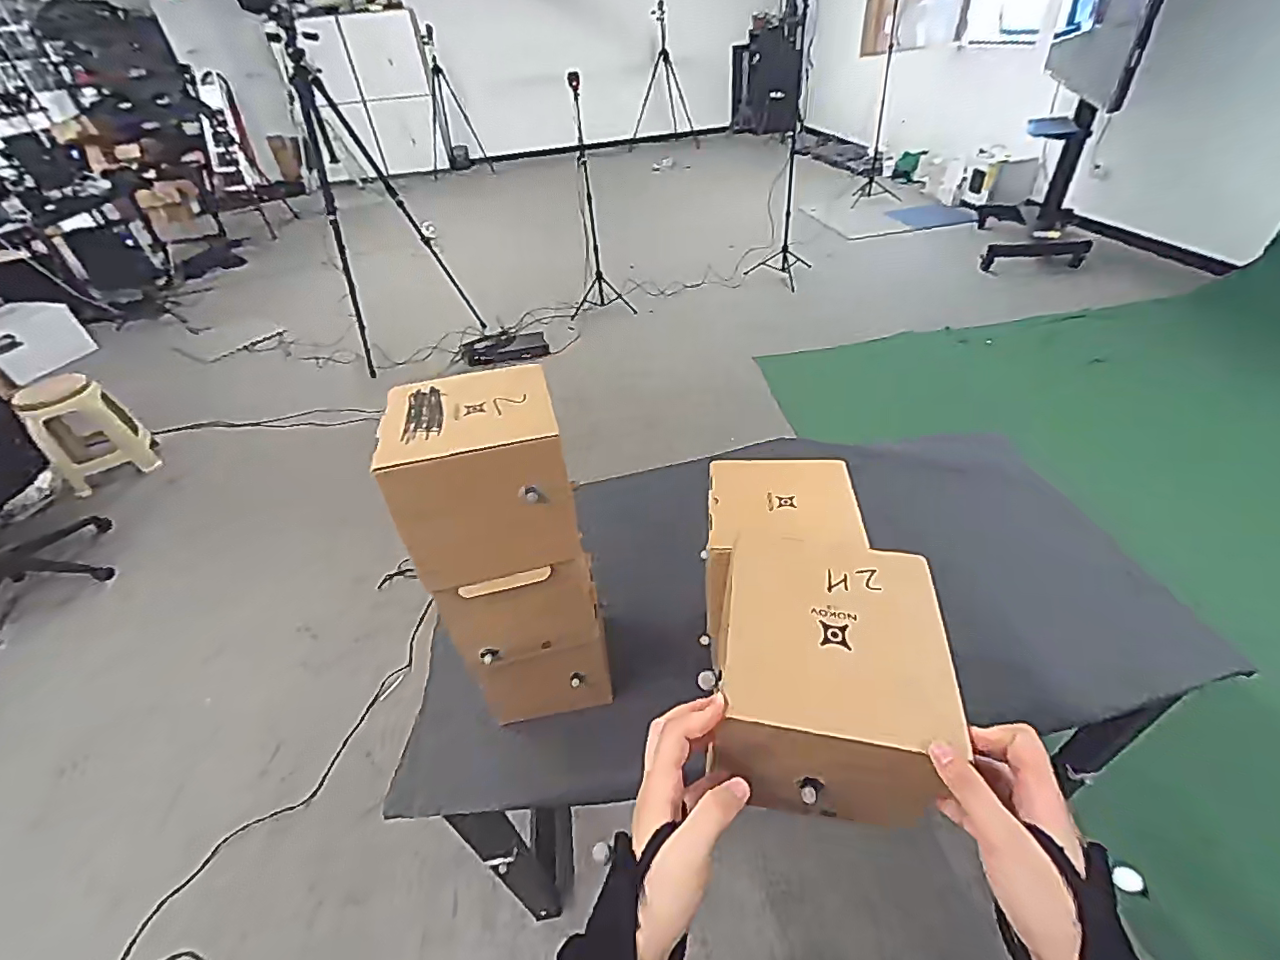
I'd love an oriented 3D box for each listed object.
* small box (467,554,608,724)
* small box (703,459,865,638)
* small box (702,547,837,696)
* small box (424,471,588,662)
[{"bbox_3d":[-0.147,0.241,0.823,0.179,0.176,0.168,-11,39,-4],"label":"small box"},{"bbox_3d":[0.173,0.089,0.701,0.179,0.176,0.168,-1,39,9],"label":"small box"},{"bbox_3d":[0.184,0.209,0.812,0.168,0.176,0.179,-4,40,4],"label":"small box"},{"bbox_3d":[-0.171,0.118,0.716,0.168,0.176,0.179,-12,38,-8],"label":"small box"}]
